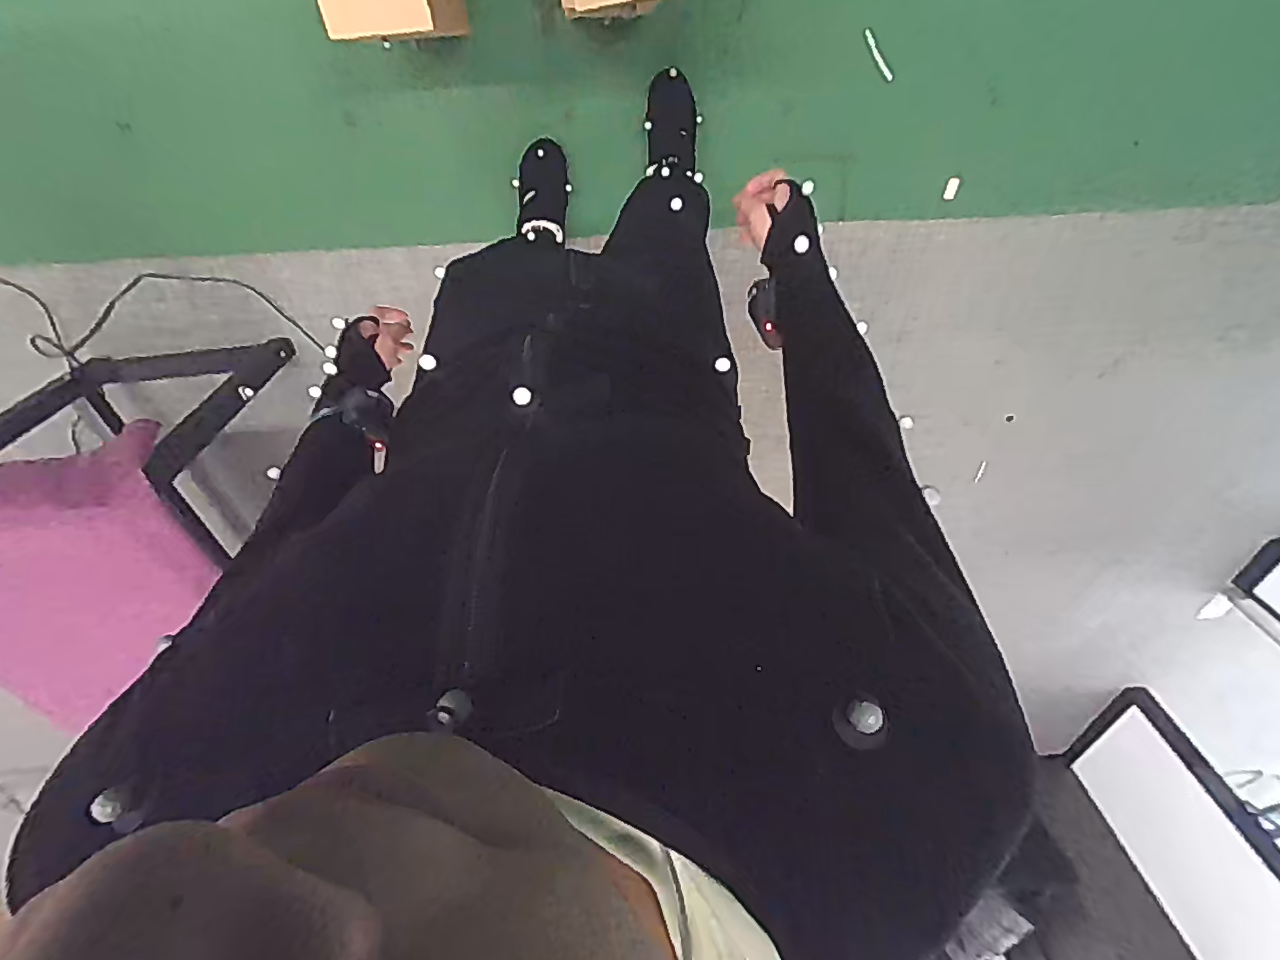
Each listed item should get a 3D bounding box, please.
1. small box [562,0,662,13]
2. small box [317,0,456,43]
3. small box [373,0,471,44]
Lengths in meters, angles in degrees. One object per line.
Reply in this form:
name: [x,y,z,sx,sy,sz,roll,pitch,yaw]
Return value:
small box: [-0.052,-0.880,0.879,0.168,0.176,0.179,-5,129,-1]
small box: [-0.427,-0.833,0.893,0.179,0.176,0.168,-5,129,0]
small box: [-0.432,-0.939,1.019,0.168,0.176,0.179,-4,128,0]
